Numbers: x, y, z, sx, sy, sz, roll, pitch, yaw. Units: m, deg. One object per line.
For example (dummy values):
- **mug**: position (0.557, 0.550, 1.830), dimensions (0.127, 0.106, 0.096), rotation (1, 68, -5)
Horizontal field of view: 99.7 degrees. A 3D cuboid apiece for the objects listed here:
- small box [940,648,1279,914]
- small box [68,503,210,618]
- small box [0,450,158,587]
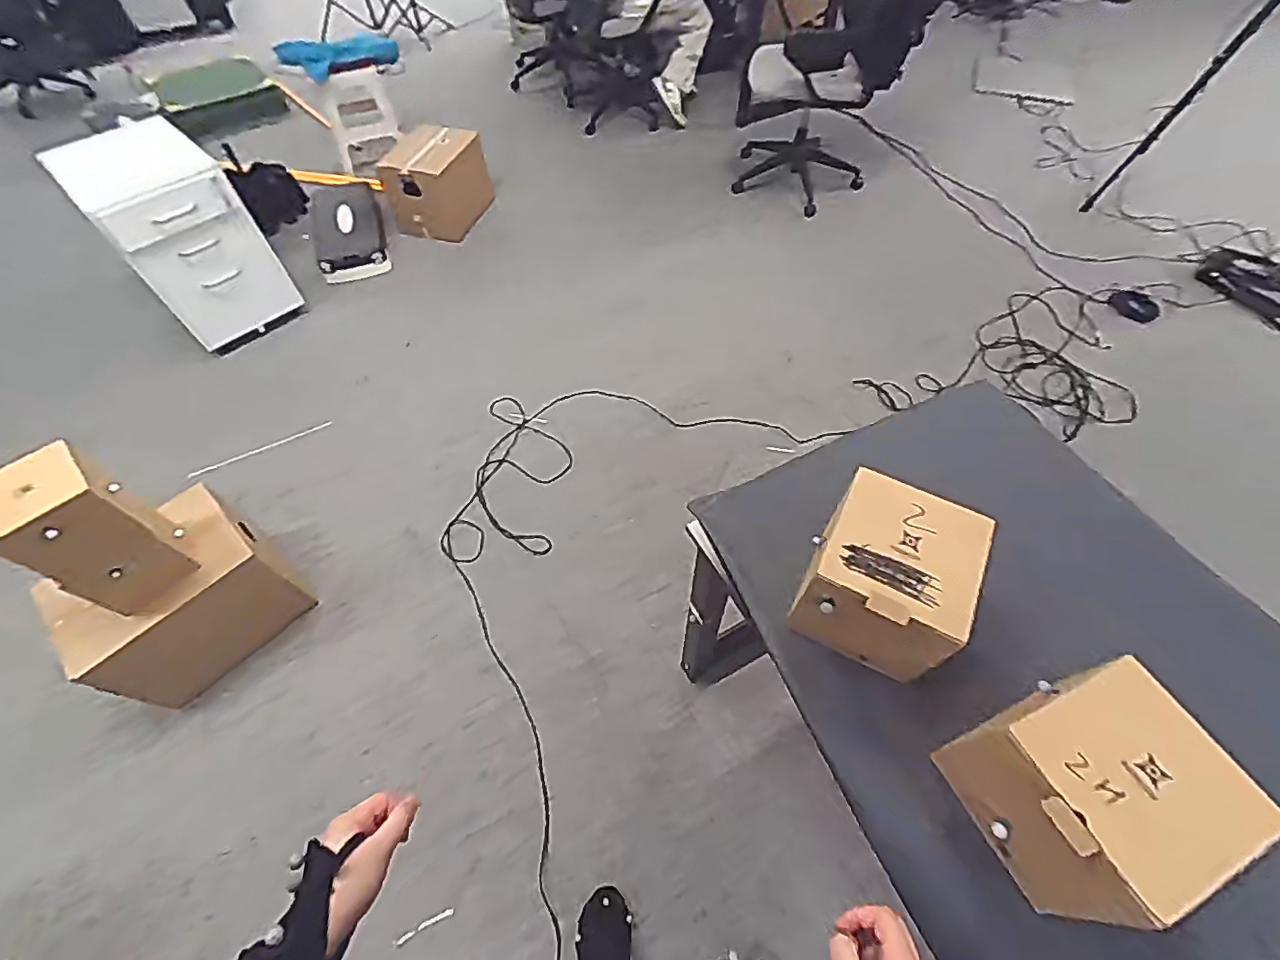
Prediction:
- **small box**: position (0.460, 0.306, 0.560), dimensions (0.179, 0.176, 0.168), rotation (-21, 56, -13)
- **small box**: position (-1.137, 0.179, 1.219), dimensions (0.168, 0.176, 0.179), rotation (39, 65, 23)
- **small box**: position (-1.131, 0.081, 1.090), dimensions (0.168, 0.176, 0.179), rotation (39, 66, 23)
